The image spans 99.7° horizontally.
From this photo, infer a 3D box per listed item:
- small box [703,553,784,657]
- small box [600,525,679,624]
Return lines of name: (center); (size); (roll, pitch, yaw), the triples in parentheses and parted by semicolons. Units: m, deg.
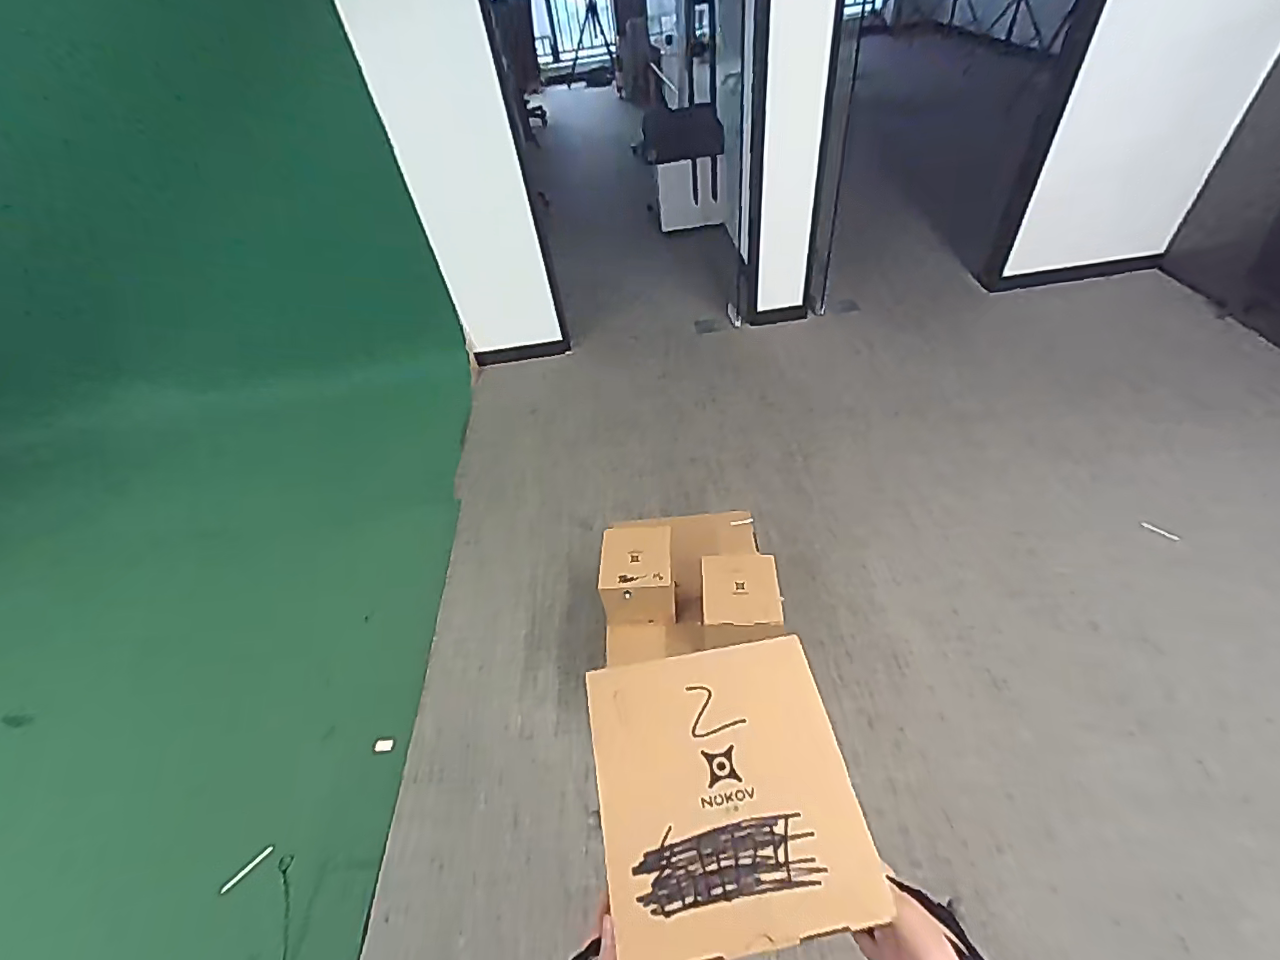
small box: (0.229, 0.285, 1.223); (0.168, 0.176, 0.179); (-2, 45, 6)
small box: (0.004, 0.230, 1.316); (0.168, 0.176, 0.179); (-4, 44, 7)
